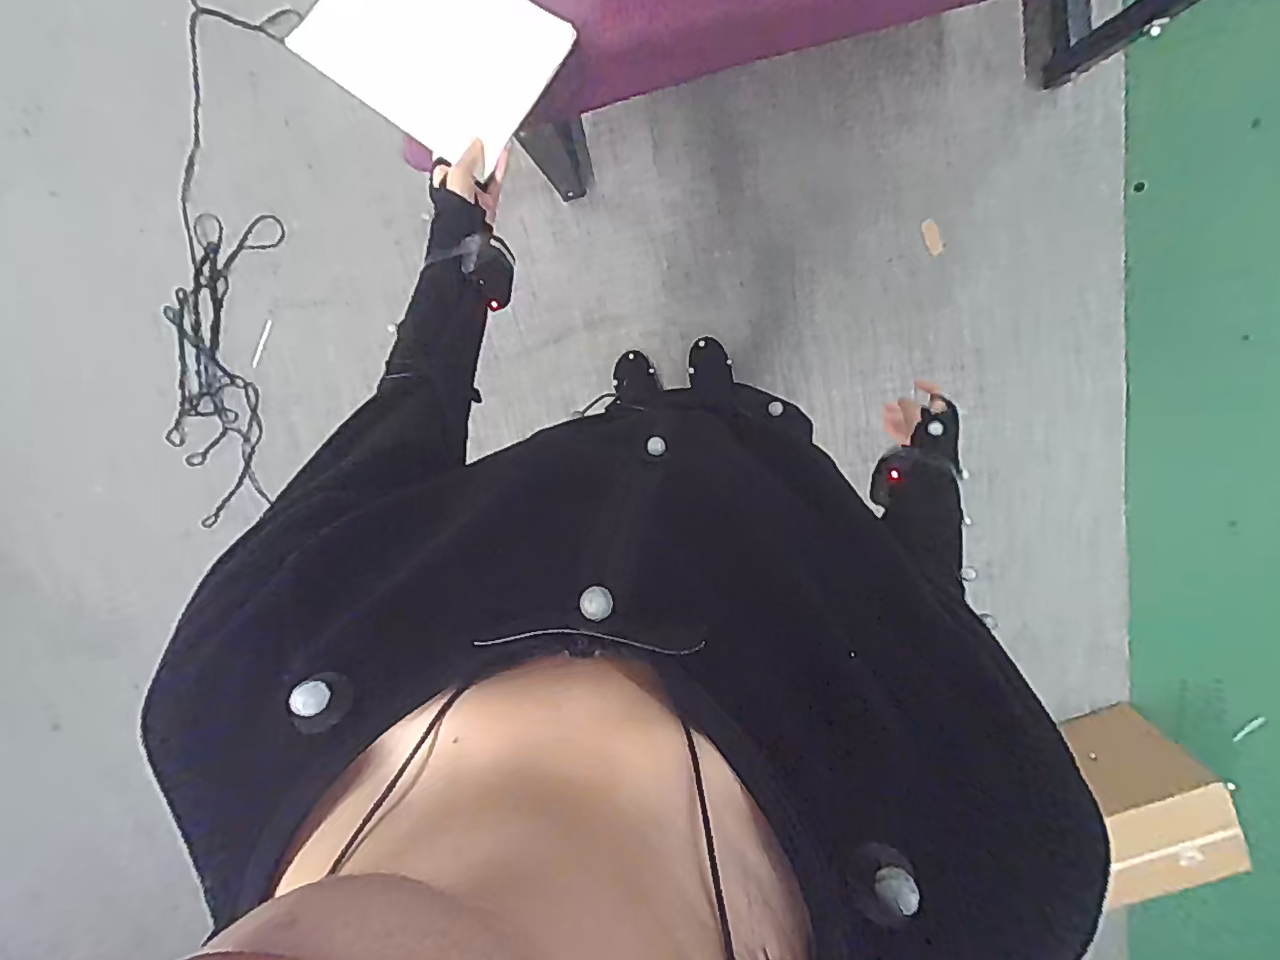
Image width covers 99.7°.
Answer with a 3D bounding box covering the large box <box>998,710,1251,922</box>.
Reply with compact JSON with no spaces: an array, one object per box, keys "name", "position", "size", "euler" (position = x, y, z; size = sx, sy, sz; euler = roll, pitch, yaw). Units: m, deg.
[{"name":"large box","position":[1.350,0.942,1.547],"size":[0.408,0.320,0.320],"euler":[-26,102,8]}]
